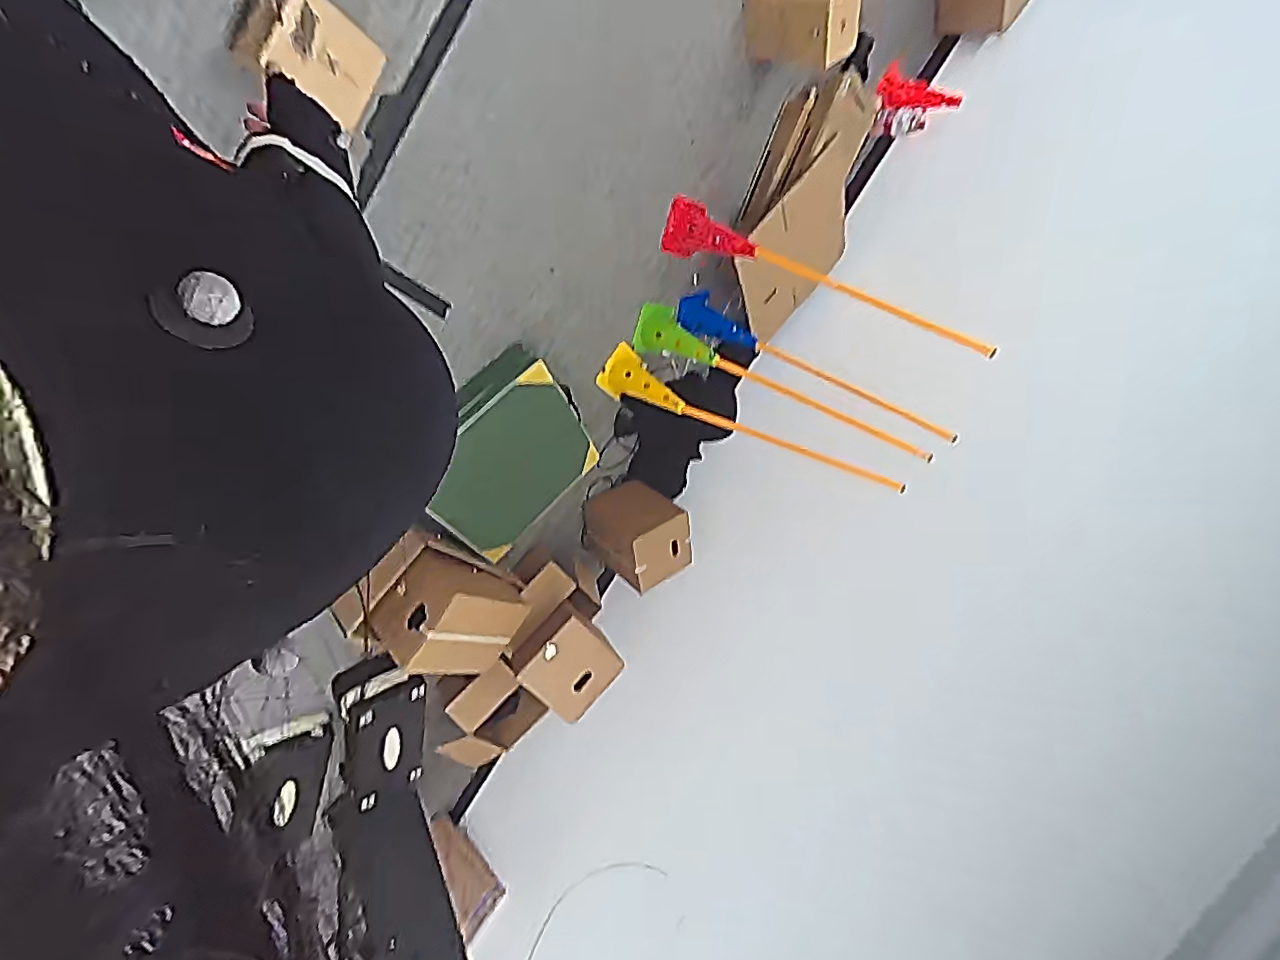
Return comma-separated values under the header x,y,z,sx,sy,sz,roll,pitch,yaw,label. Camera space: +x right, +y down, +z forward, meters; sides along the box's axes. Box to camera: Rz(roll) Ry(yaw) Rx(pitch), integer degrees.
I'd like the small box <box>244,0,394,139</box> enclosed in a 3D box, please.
x,y,z,sx,sy,sz,roll,pitch,yaw,label
-0.629,-0.812,1.056,0.168,0.176,0.179,-59,148,7,small box
